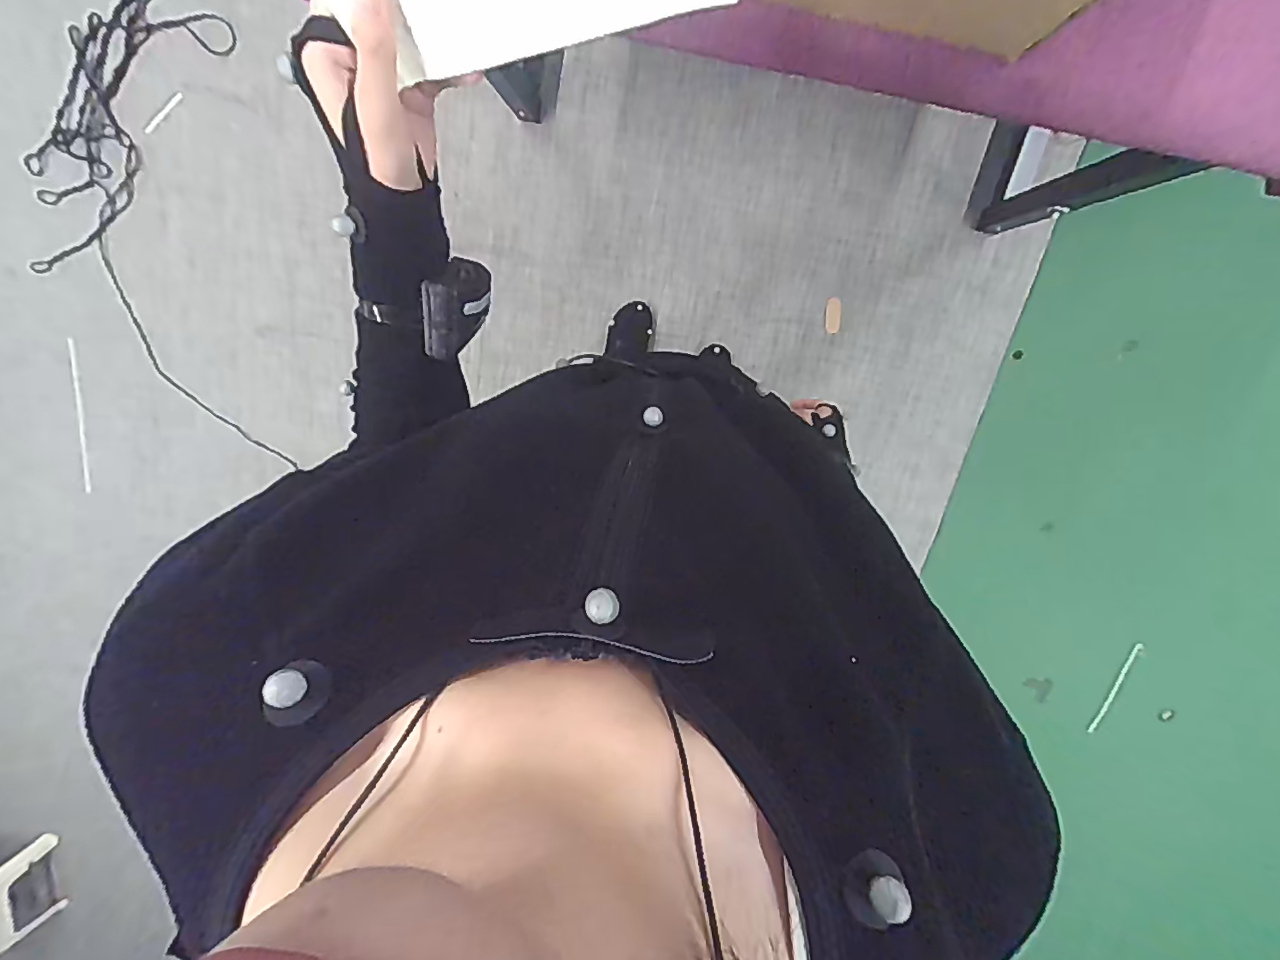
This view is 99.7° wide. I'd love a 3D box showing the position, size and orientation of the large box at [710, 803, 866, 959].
[{"bbox_3d":[0.429,1.236,1.654,0.408,0.320,0.320,-2,105,4],"label":"large box"}]
